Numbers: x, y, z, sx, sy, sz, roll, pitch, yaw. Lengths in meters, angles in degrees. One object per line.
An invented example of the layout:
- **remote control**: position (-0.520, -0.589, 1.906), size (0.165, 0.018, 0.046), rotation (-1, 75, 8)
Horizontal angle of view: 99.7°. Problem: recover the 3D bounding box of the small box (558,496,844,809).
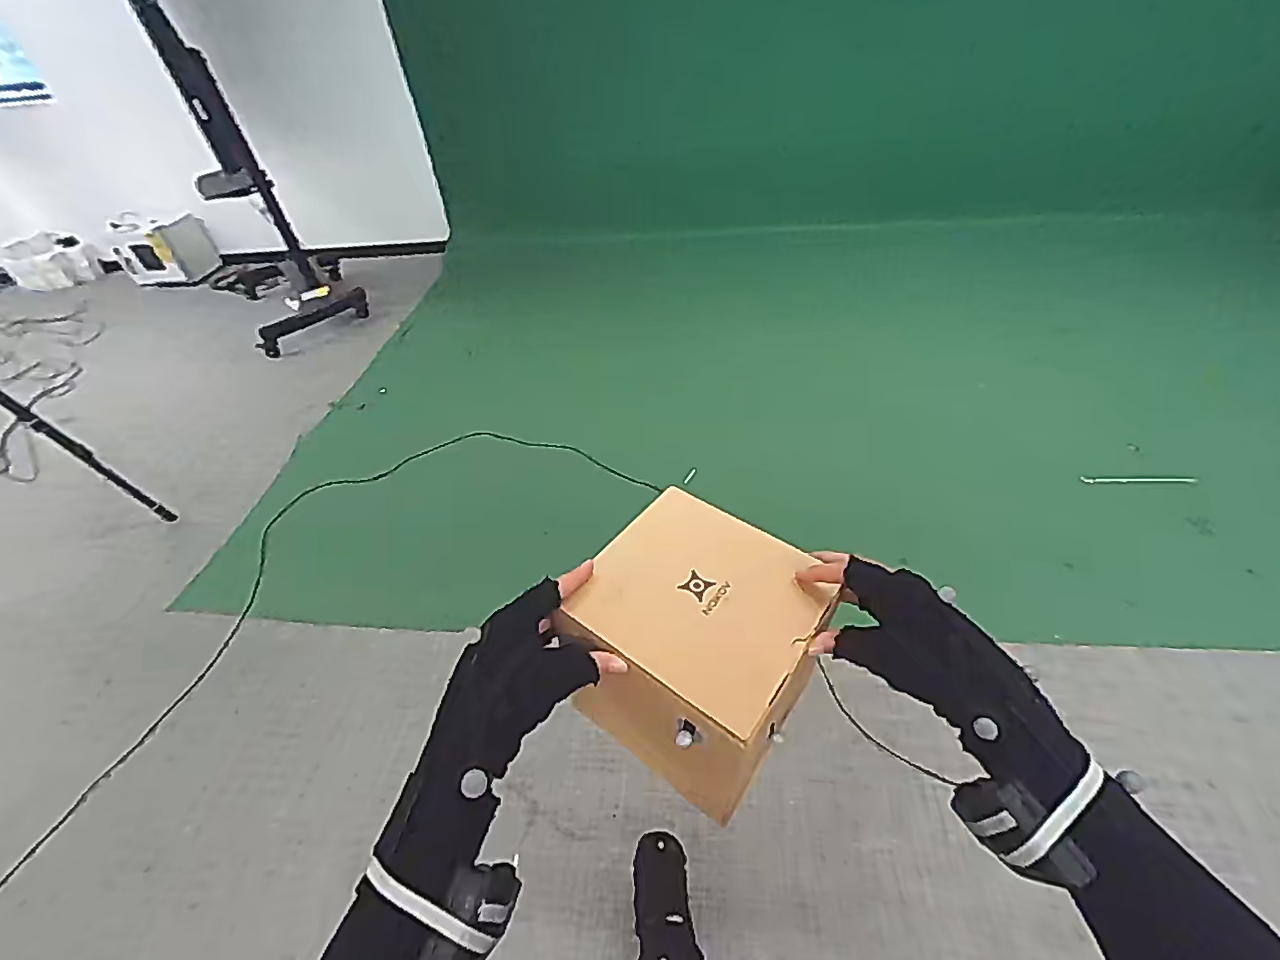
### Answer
- **small box**: position (0.049, 0.151, 0.486), size (0.179, 0.176, 0.168), rotation (29, 49, 27)
